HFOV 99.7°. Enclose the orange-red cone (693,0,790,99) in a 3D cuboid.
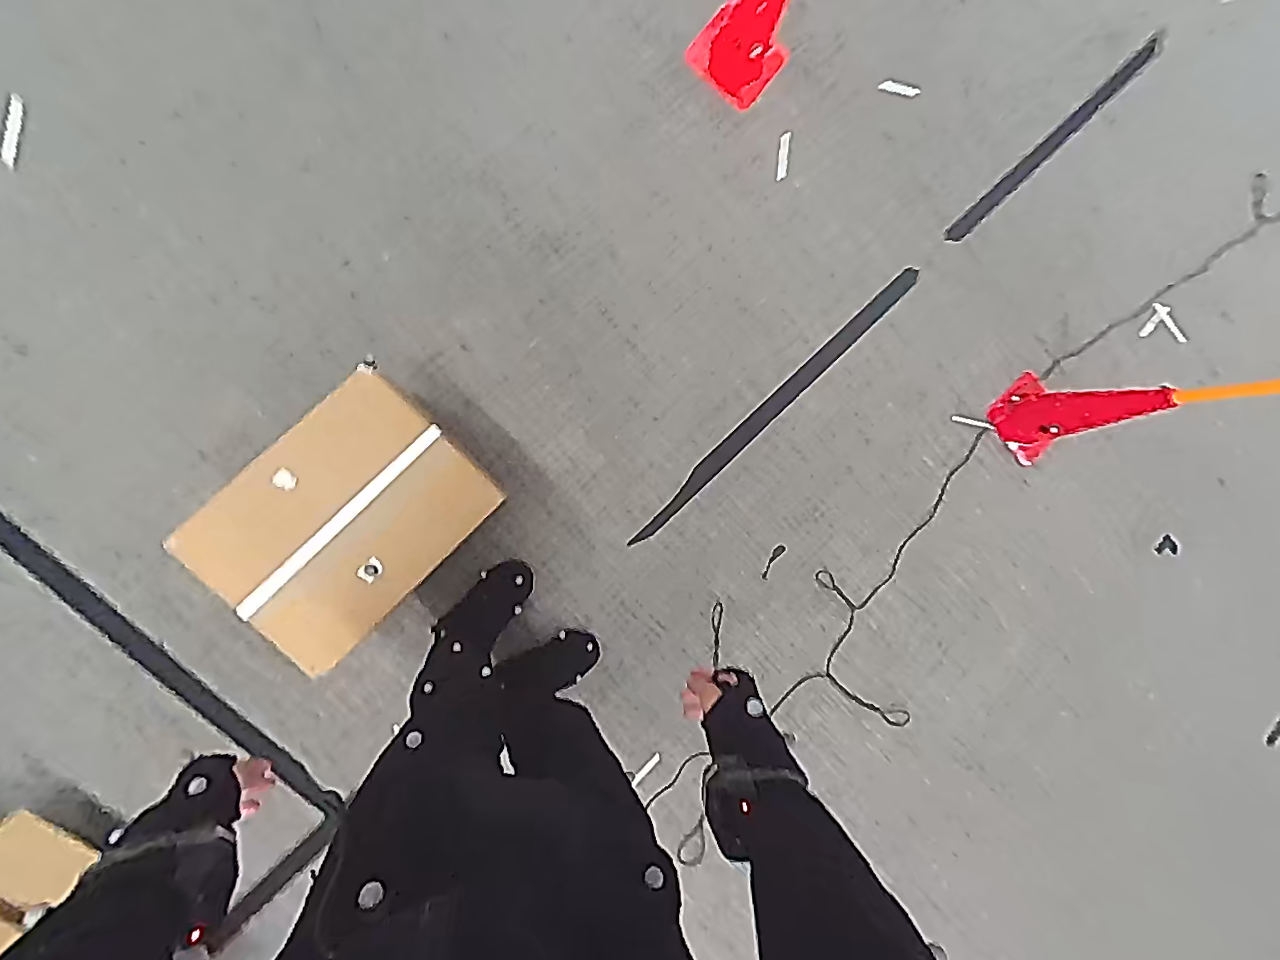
[{"bbox_3d":[0.279,-1.043,1.130,0.199,0.360,0.198,39,82,-8],"label":"orange-red cone"}]
